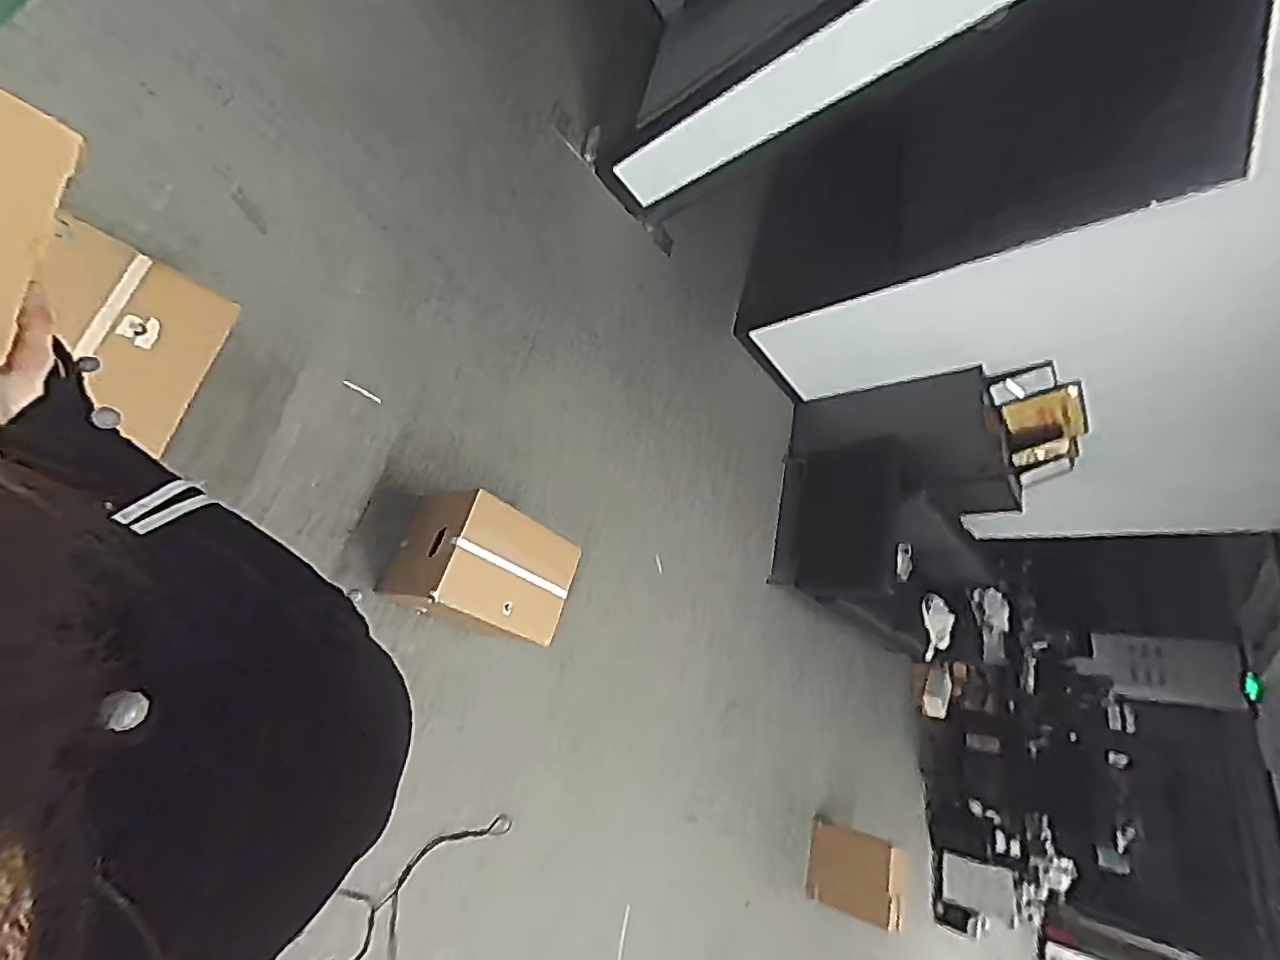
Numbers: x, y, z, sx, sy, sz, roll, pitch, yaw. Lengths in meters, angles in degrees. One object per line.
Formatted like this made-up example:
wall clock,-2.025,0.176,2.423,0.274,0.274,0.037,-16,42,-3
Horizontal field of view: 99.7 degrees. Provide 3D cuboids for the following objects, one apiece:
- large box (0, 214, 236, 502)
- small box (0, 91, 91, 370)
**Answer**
large box,-1.040,-0.206,0.998,0.320,0.320,0.408,32,60,-42
small box,-0.491,-0.174,0.322,0.179,0.176,0.168,22,77,-55
